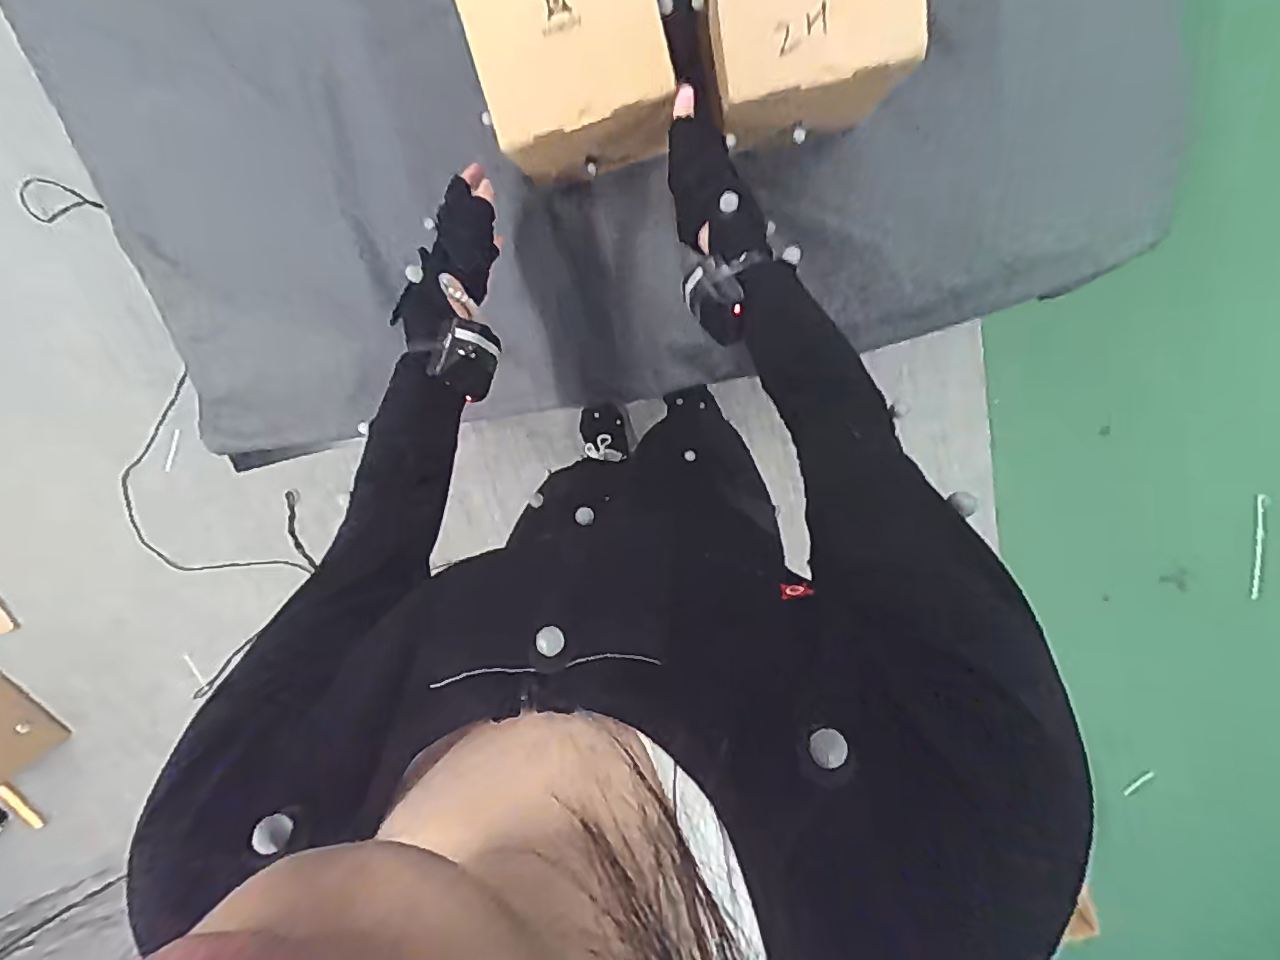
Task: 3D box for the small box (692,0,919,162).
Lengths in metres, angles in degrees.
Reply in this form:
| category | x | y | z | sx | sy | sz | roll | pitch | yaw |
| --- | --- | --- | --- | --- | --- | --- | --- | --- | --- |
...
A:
| category | x | y | z | sx | sy | sz | roll | pitch | yaw |
| --- | --- | --- | --- | --- | --- | --- | --- | --- | --- |
| small box | 0.143 | -0.436 | 0.515 | 0.168 | 0.176 | 0.179 | -10 | 106 | 7 |
